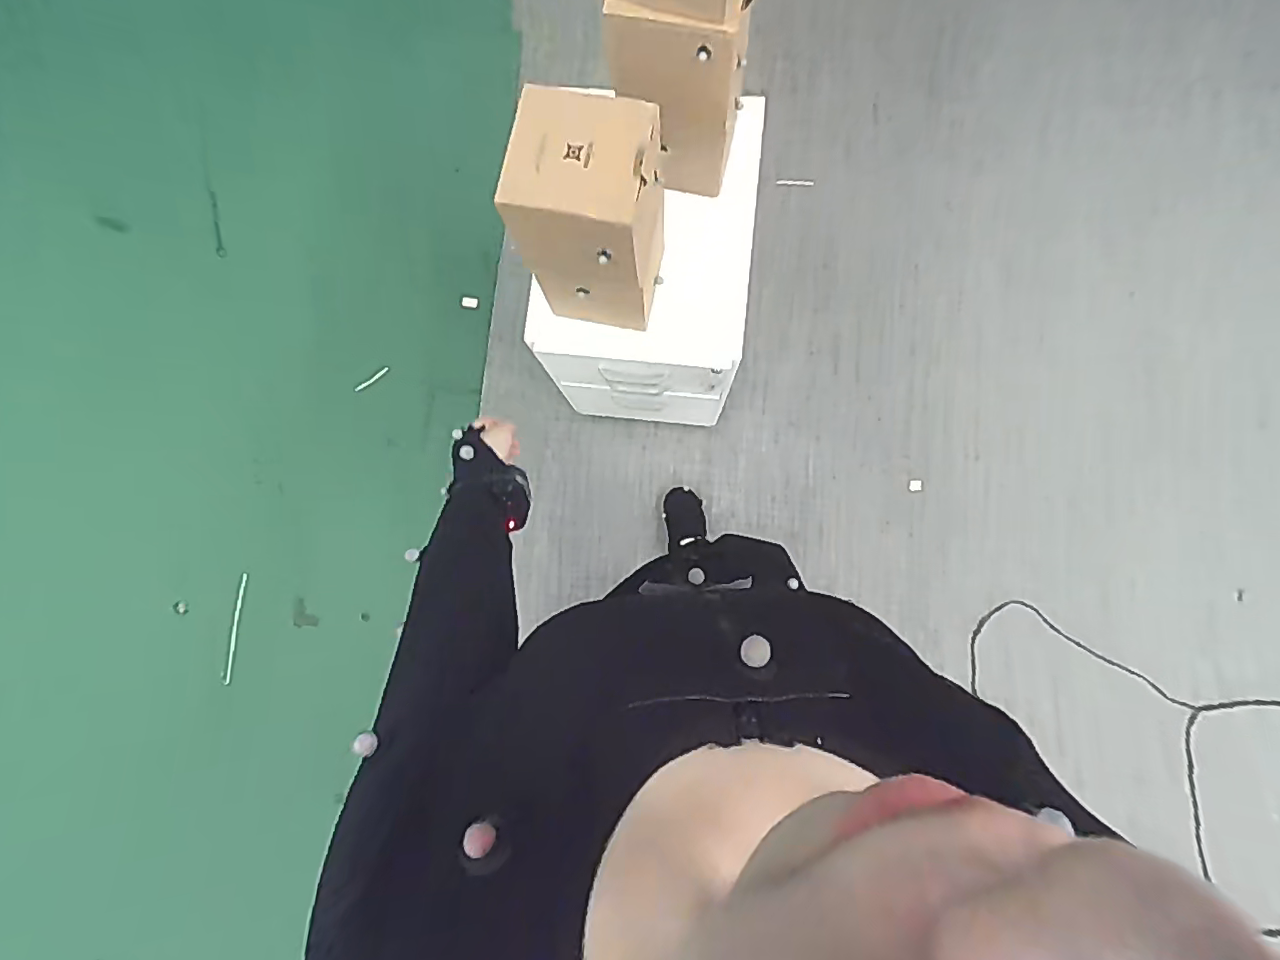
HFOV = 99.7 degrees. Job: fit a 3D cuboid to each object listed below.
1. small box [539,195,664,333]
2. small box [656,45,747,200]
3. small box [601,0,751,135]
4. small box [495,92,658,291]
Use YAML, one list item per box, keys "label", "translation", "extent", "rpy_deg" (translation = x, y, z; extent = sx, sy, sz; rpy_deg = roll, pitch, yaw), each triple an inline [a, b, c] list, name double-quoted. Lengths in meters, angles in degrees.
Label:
- label: "small box"
  translation: [-0.061, -0.363, 0.904]
  extent: [0.179, 0.176, 0.168]
  rpy_deg: [12, 83, 4]
- label: "small box"
  translation: [0.071, -0.613, 0.927]
  extent: [0.179, 0.176, 0.168]
  rpy_deg: [13, 84, 5]
- label: "small box"
  translation: [0.056, -0.630, 0.767]
  extent: [0.179, 0.176, 0.168]
  rpy_deg: [12, 84, 4]
- label: "small box"
  translation: [-0.073, -0.382, 0.743]
  extent: [0.179, 0.176, 0.168]
  rpy_deg: [11, 82, 5]
